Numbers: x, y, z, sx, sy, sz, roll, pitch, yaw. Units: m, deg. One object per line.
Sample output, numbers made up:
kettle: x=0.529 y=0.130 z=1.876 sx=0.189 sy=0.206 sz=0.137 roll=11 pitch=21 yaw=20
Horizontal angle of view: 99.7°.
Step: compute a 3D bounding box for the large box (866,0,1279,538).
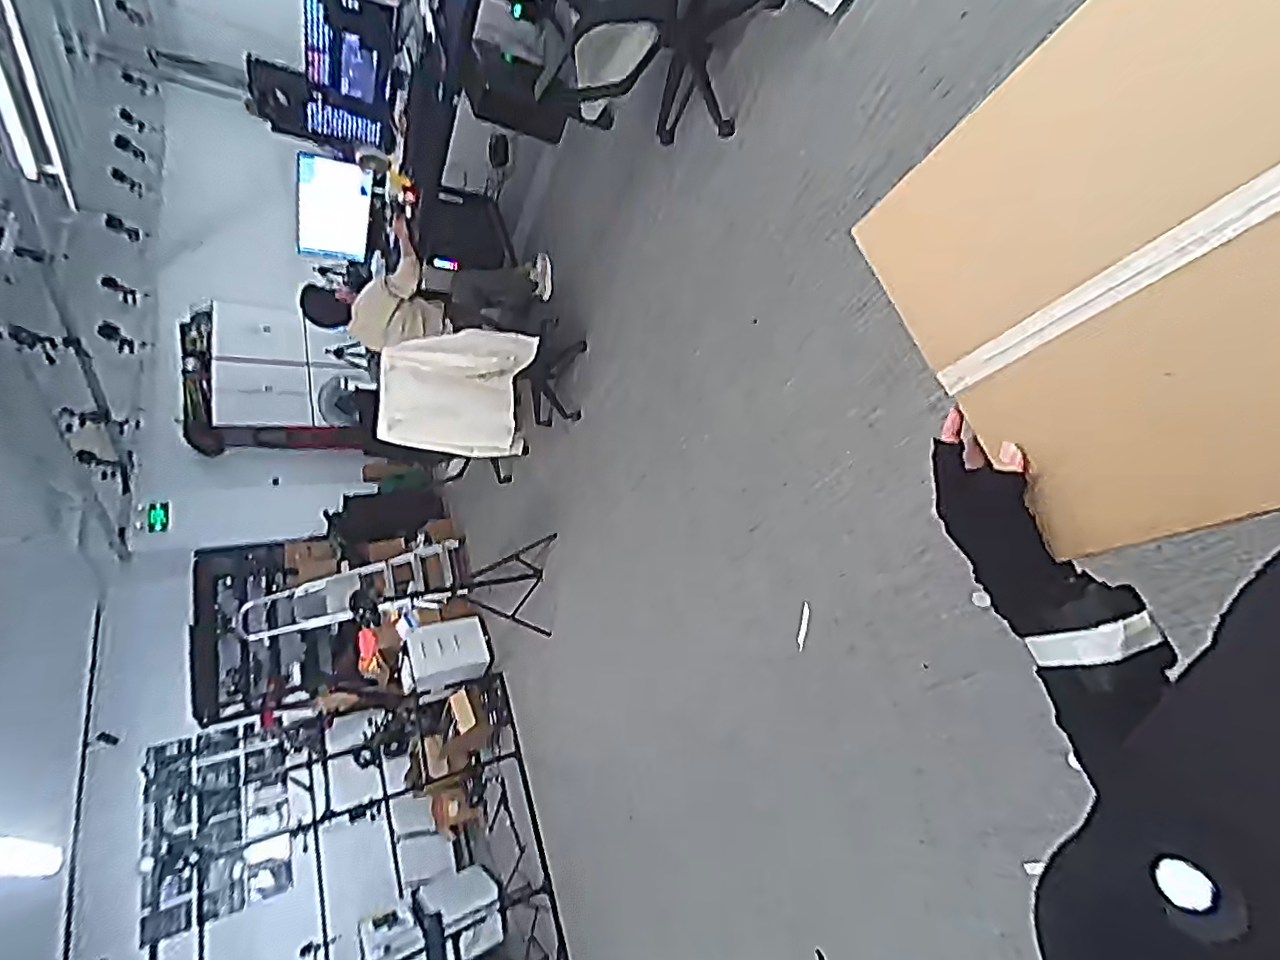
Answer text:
large box: x=0.462 y=-0.199 z=0.371 sx=0.408 sy=0.320 sz=0.320 roll=-40 pitch=72 yaw=53
